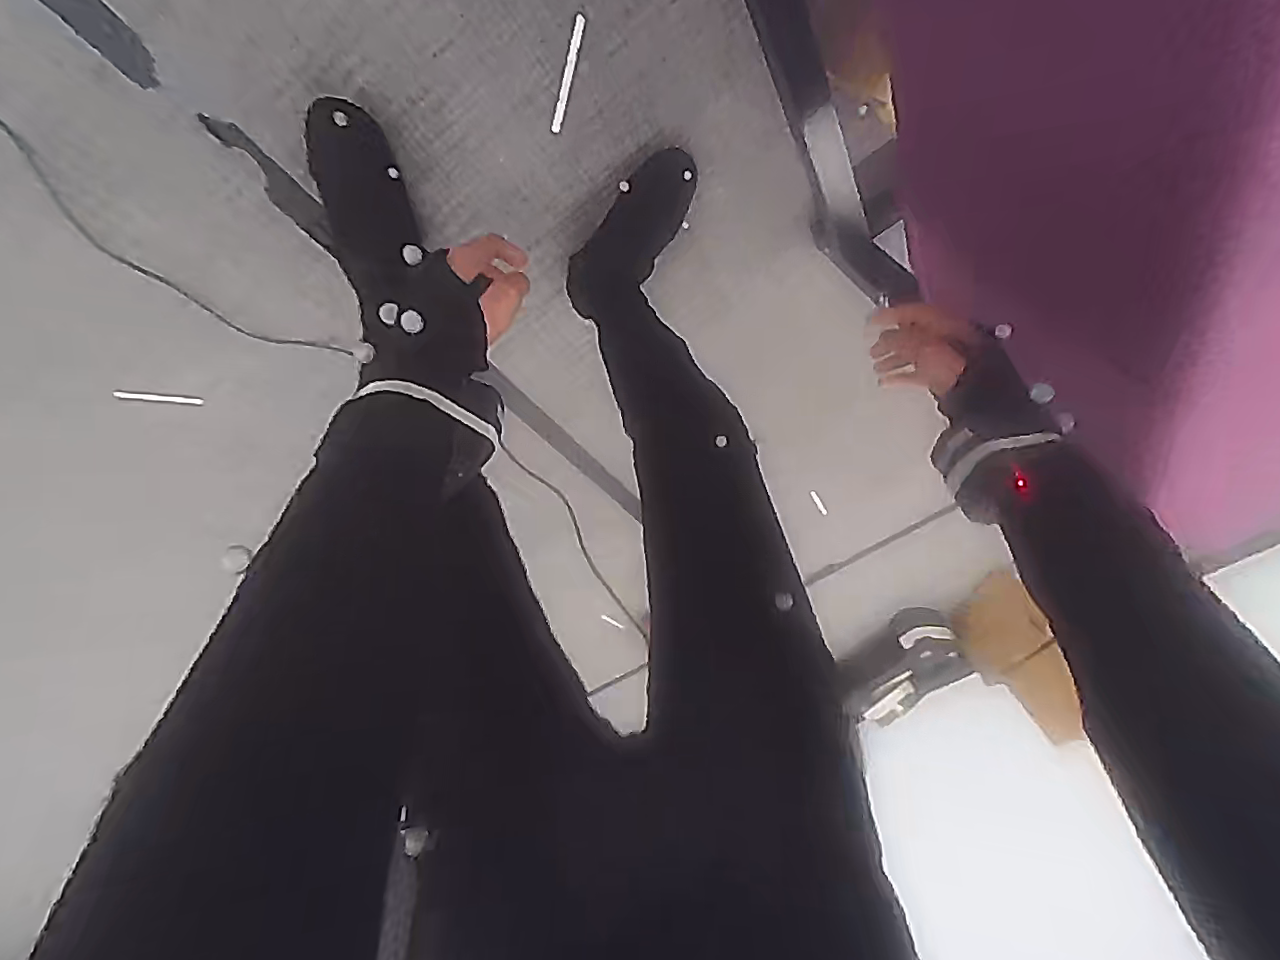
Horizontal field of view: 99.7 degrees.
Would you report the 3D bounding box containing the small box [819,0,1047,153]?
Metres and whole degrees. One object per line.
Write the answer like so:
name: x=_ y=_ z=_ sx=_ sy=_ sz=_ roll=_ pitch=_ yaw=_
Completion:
small box: x=0.380 y=-0.593 z=0.731 sx=0.168 sy=0.176 sz=0.179 roll=12 pitch=130 yaw=-29
